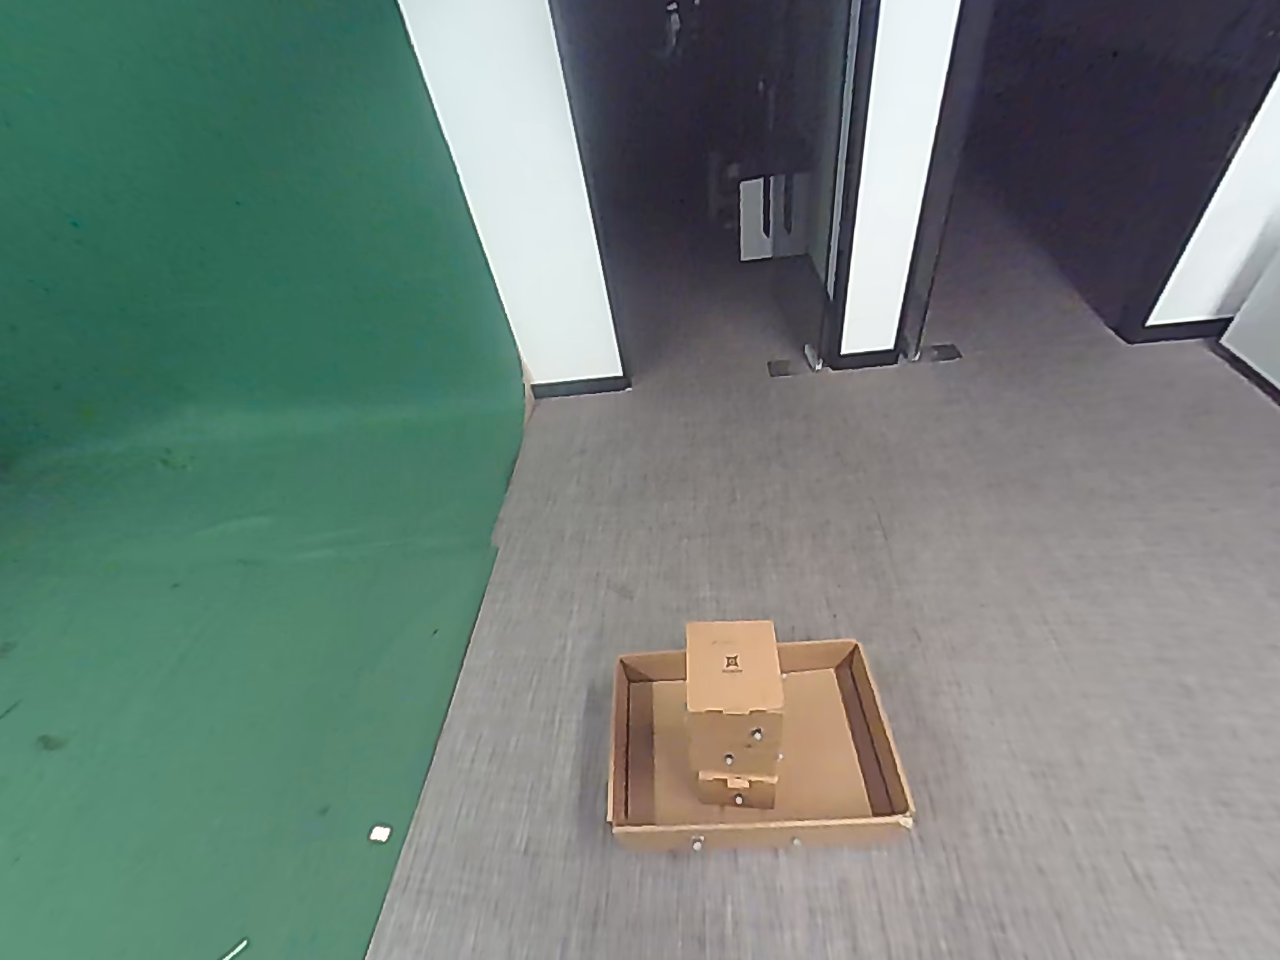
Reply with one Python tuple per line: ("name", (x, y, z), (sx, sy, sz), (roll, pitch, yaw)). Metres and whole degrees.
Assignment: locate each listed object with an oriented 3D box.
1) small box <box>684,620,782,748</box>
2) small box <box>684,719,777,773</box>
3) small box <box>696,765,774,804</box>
("small box", (0.172, 0.386, 1.017), (0.168, 0.176, 0.179), (-2, 41, 7))
("small box", (0.194, 0.496, 1.134), (0.179, 0.176, 0.168), (0, 43, 13))
("small box", (0.220, 0.621, 1.238), (0.168, 0.176, 0.179), (-1, 44, 10))
